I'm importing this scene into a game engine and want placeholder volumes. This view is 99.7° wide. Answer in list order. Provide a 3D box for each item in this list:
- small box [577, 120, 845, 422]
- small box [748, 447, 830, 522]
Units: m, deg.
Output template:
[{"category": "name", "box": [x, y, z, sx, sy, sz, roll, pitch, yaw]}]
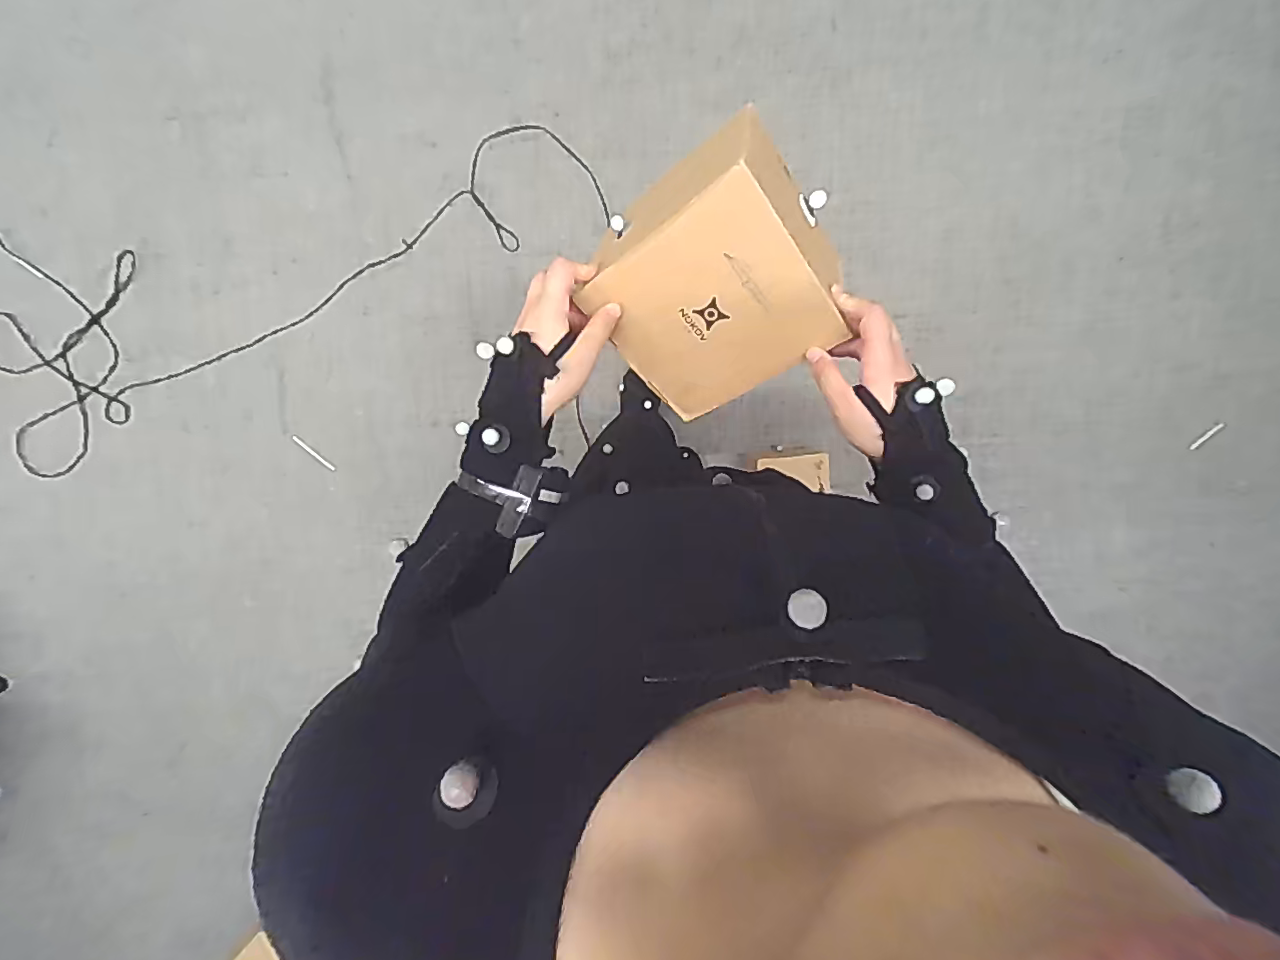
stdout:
[{"category": "small box", "box": [0.072, -0.194, 0.516, 0.179, 0.176, 0.168, -27, 125, 34]}, {"category": "small box", "box": [0.379, 0.008, 1.402, 0.179, 0.176, 0.168, -5, 98, 2]}]
